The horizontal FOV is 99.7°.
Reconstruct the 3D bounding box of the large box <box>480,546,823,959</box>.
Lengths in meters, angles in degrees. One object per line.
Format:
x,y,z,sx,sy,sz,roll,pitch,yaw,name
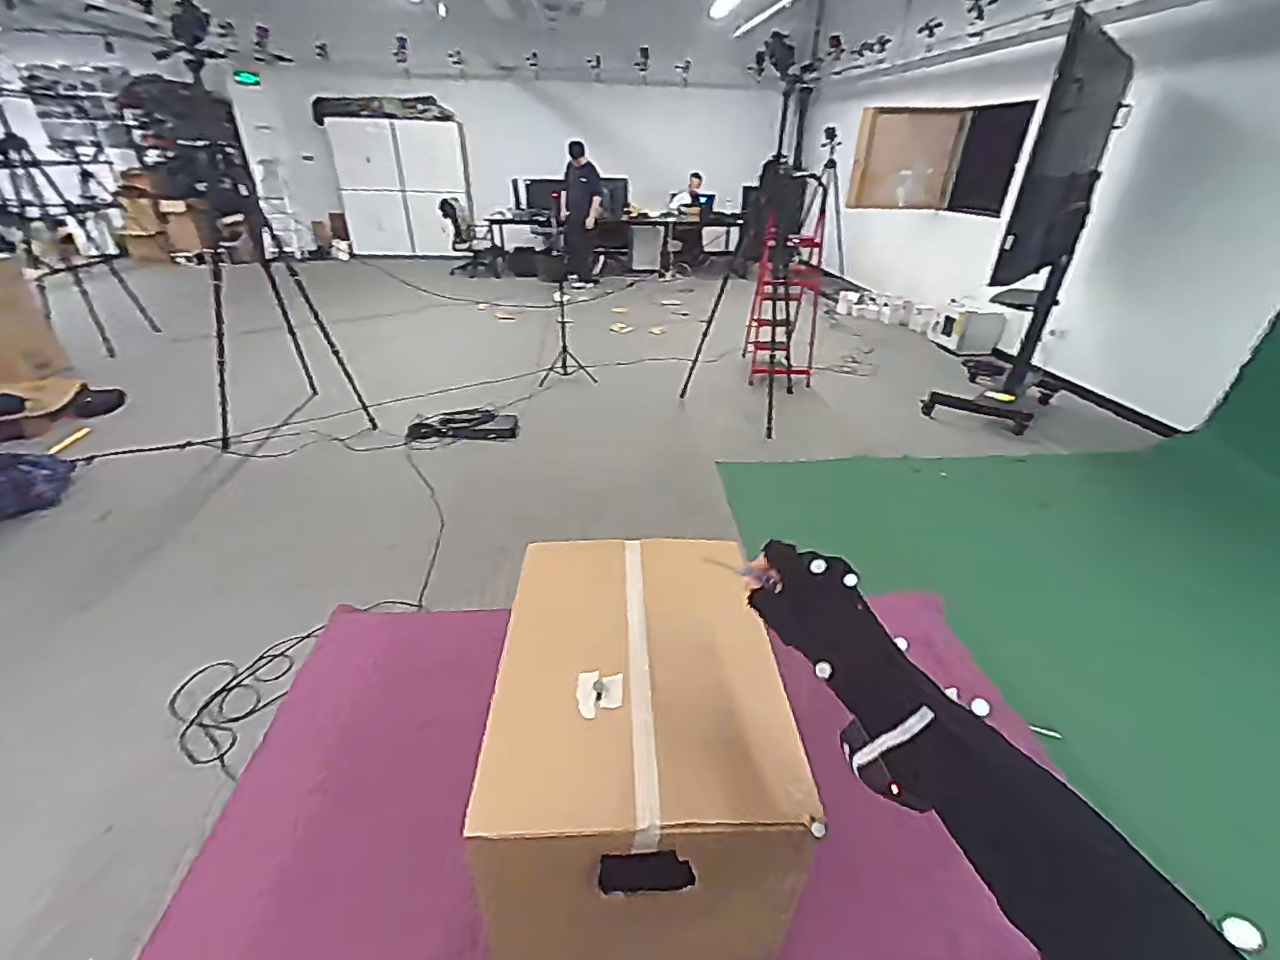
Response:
-0.004,0.332,0.718,0.320,0.320,0.408,0,31,-3,large box
